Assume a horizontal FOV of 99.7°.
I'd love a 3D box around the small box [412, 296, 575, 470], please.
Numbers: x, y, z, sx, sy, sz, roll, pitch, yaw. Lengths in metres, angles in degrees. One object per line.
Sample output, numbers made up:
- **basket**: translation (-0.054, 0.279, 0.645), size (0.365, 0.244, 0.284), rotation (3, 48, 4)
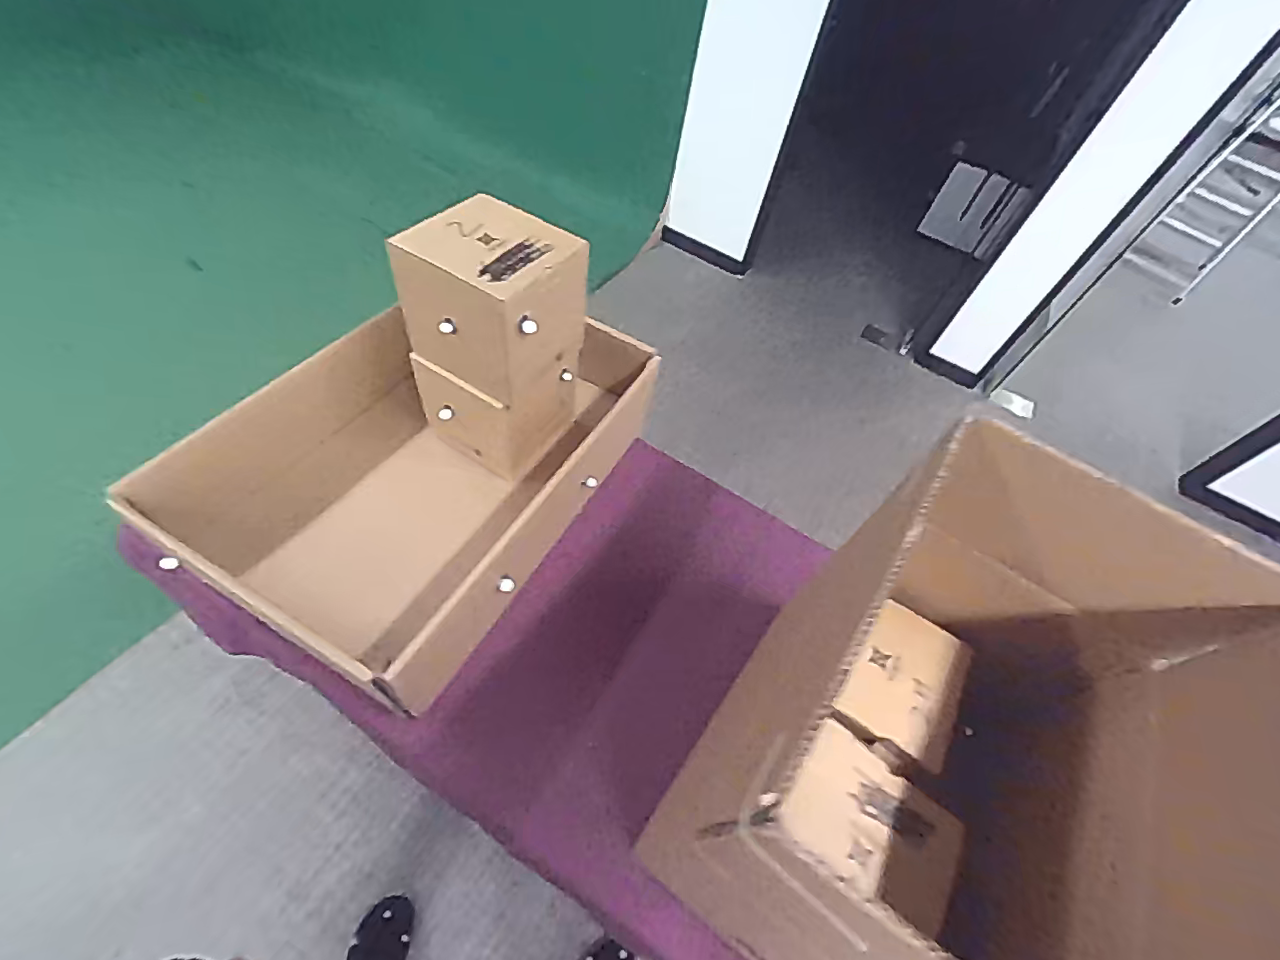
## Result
- **small box**: translation (-0.216, -0.147, 0.845), size (0.168, 0.176, 0.179), rotation (30, 55, 13)
